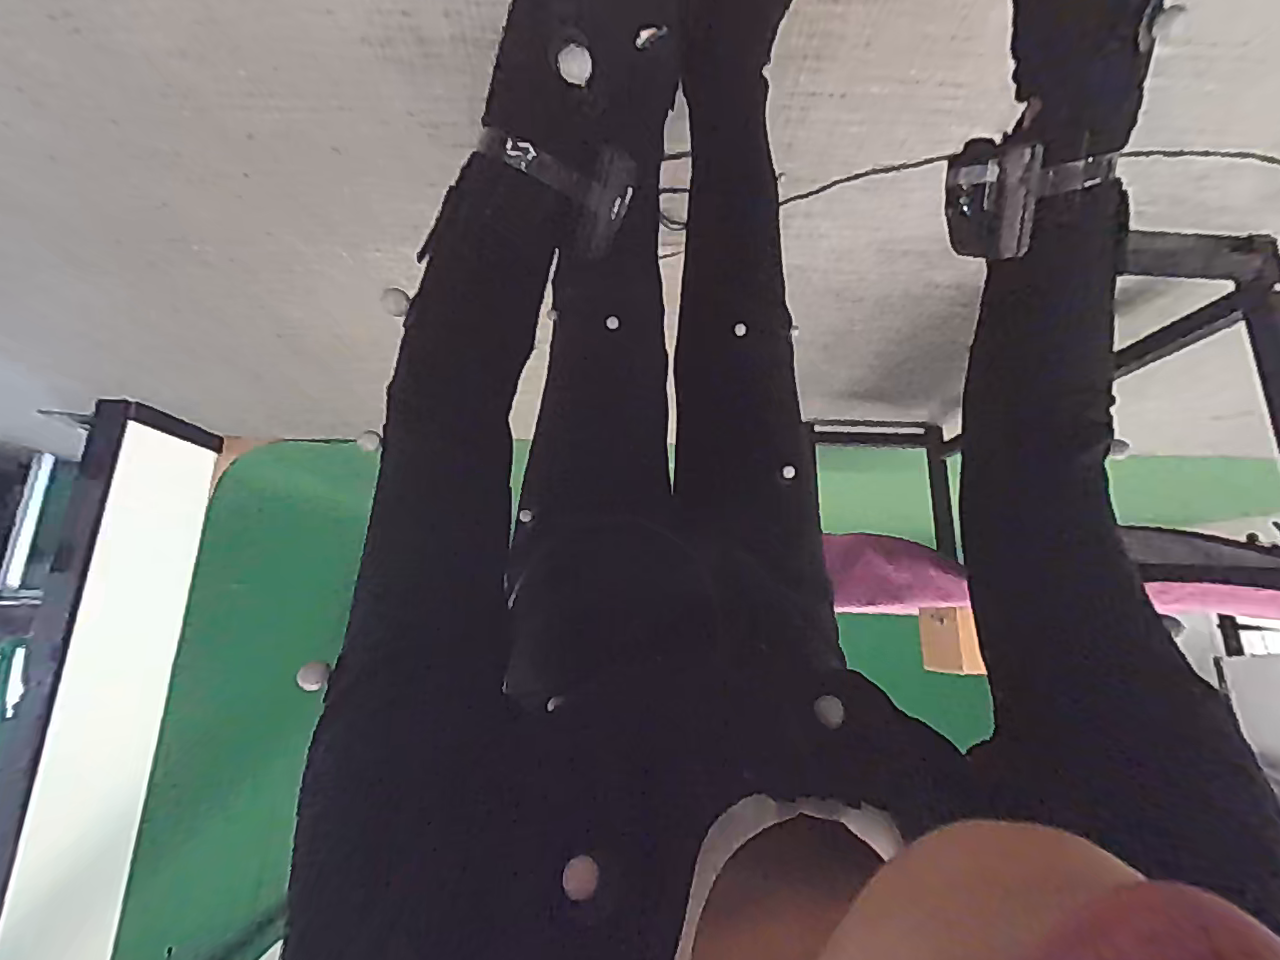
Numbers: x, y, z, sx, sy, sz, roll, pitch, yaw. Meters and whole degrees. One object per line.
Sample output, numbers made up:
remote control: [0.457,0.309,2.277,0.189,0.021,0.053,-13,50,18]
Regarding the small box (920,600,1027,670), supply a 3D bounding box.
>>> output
small box: [0.877,0.408,1.438,0.179,0.176,0.168,3,165,-6]
